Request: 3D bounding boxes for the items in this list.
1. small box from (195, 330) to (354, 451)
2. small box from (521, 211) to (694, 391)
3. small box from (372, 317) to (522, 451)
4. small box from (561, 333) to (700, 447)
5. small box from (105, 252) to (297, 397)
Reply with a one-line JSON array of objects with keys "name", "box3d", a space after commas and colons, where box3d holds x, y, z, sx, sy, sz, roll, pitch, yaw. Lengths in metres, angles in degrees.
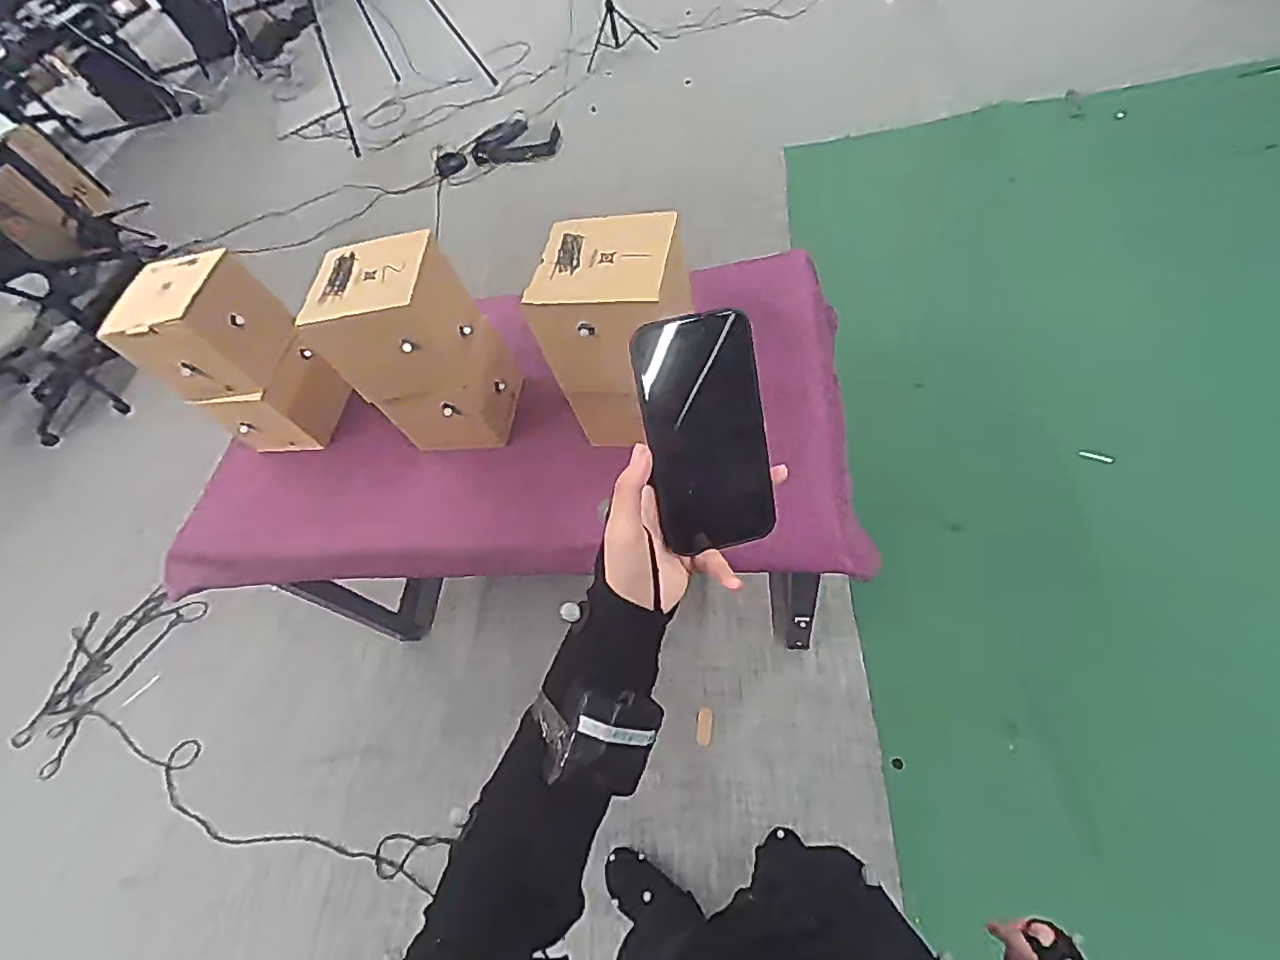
[{"name": "small box", "box3d": [-0.710, -0.168, 1.076, 0.168, 0.176, 0.179, -2, 59, 14]}, {"name": "small box", "box3d": [-0.032, -0.237, 0.742, 0.179, 0.176, 0.168, 3, 60, 16]}, {"name": "small box", "box3d": [-0.333, -0.166, 0.973, 0.179, 0.176, 0.168, -2, 59, 13]}, {"name": "small box", "box3d": [-0.003, -0.166, 0.887, 0.179, 0.176, 0.168, 3, 60, 17]}, {"name": "small box", "box3d": [-0.746, -0.259, 0.943, 0.168, 0.176, 0.179, -6, 59, 11]}]
